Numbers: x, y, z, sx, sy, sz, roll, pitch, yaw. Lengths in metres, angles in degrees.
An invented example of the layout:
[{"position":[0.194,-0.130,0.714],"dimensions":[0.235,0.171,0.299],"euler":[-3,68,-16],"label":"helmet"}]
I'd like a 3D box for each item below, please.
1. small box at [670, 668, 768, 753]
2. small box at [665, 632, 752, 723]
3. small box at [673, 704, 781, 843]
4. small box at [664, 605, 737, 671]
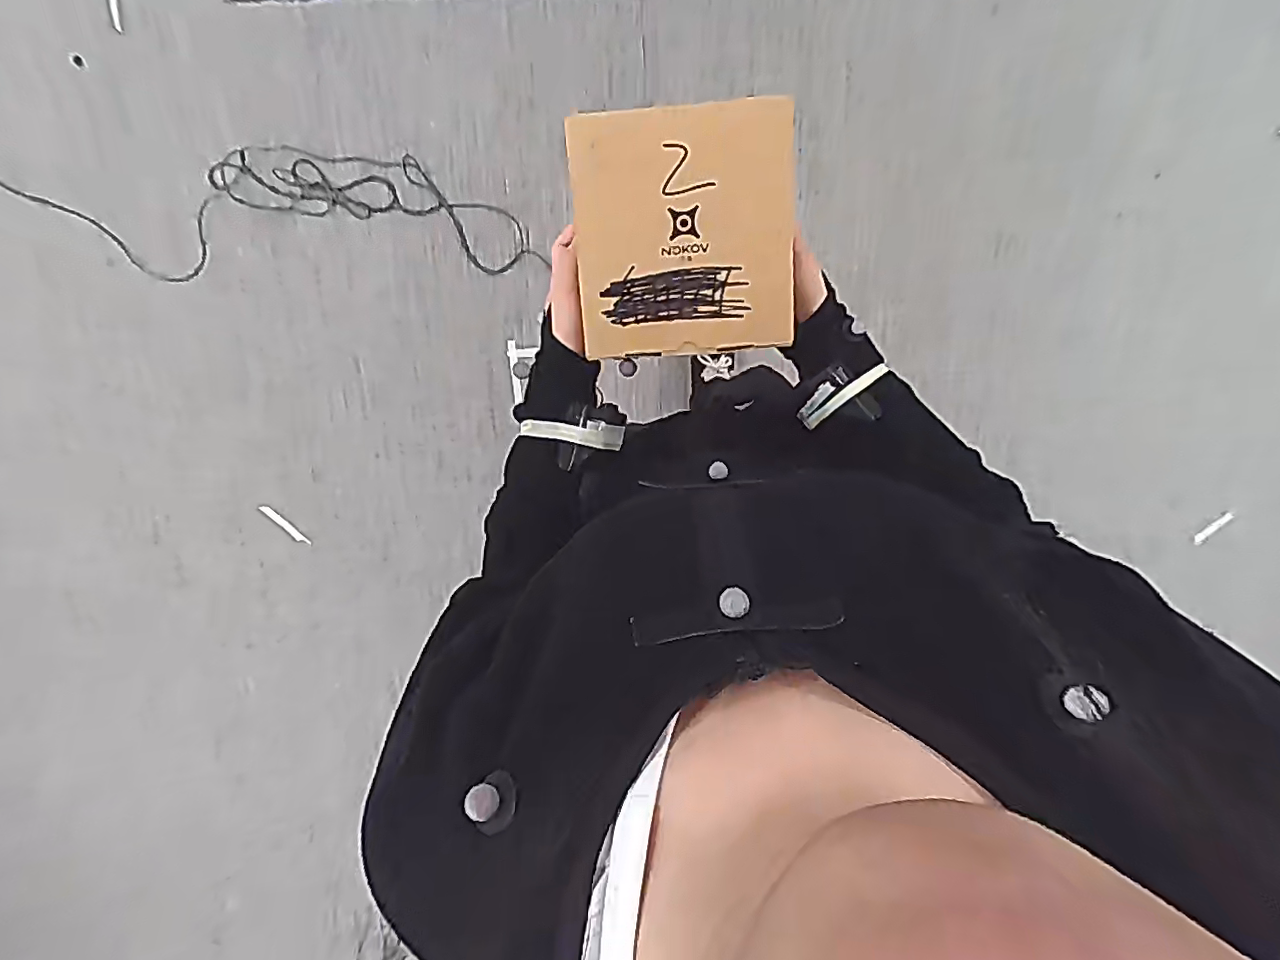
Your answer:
[{"position":[0.165,0.530,1.186],"dimensions":[0.179,0.176,0.168],"euler":[4,99,-1],"label":"small box"},{"position":[0.164,0.494,1.344],"dimensions":[0.179,0.176,0.168],"euler":[7,99,-2],"label":"small box"},{"position":[0.154,0.554,1.023],"dimensions":[0.168,0.176,0.179],"euler":[4,98,-2],"label":"small box"},{"position":[0.161,0.458,1.504],"dimensions":[0.179,0.176,0.168],"euler":[4,100,-1],"label":"small box"}]
